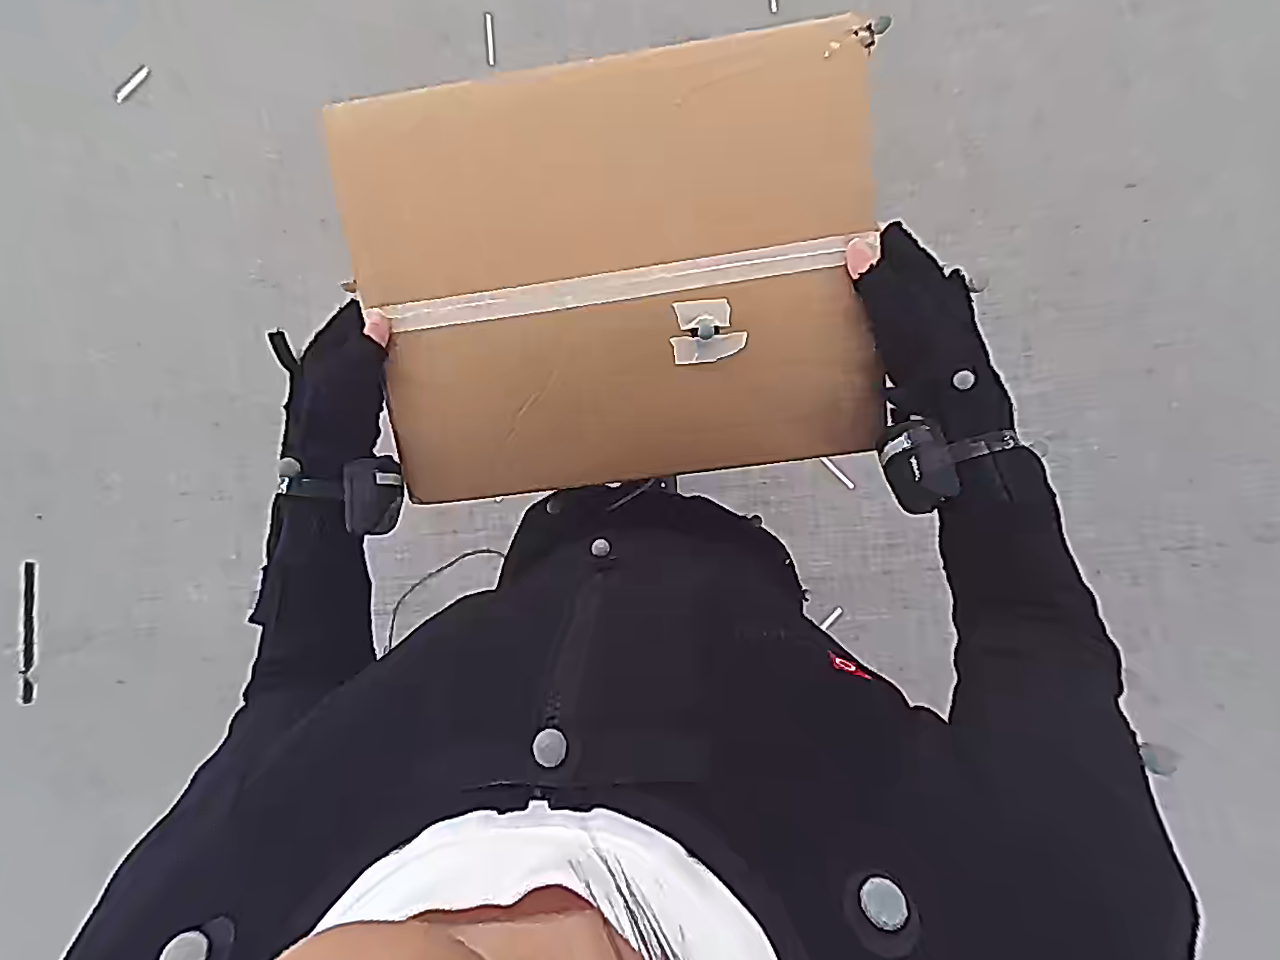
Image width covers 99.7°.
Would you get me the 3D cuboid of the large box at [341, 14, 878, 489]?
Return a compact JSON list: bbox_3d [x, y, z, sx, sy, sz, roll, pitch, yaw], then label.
[{"bbox_3d":[-0.014,-0.197,0.582,0.408,0.320,0.320,-7,103,3],"label":"large box"}]
